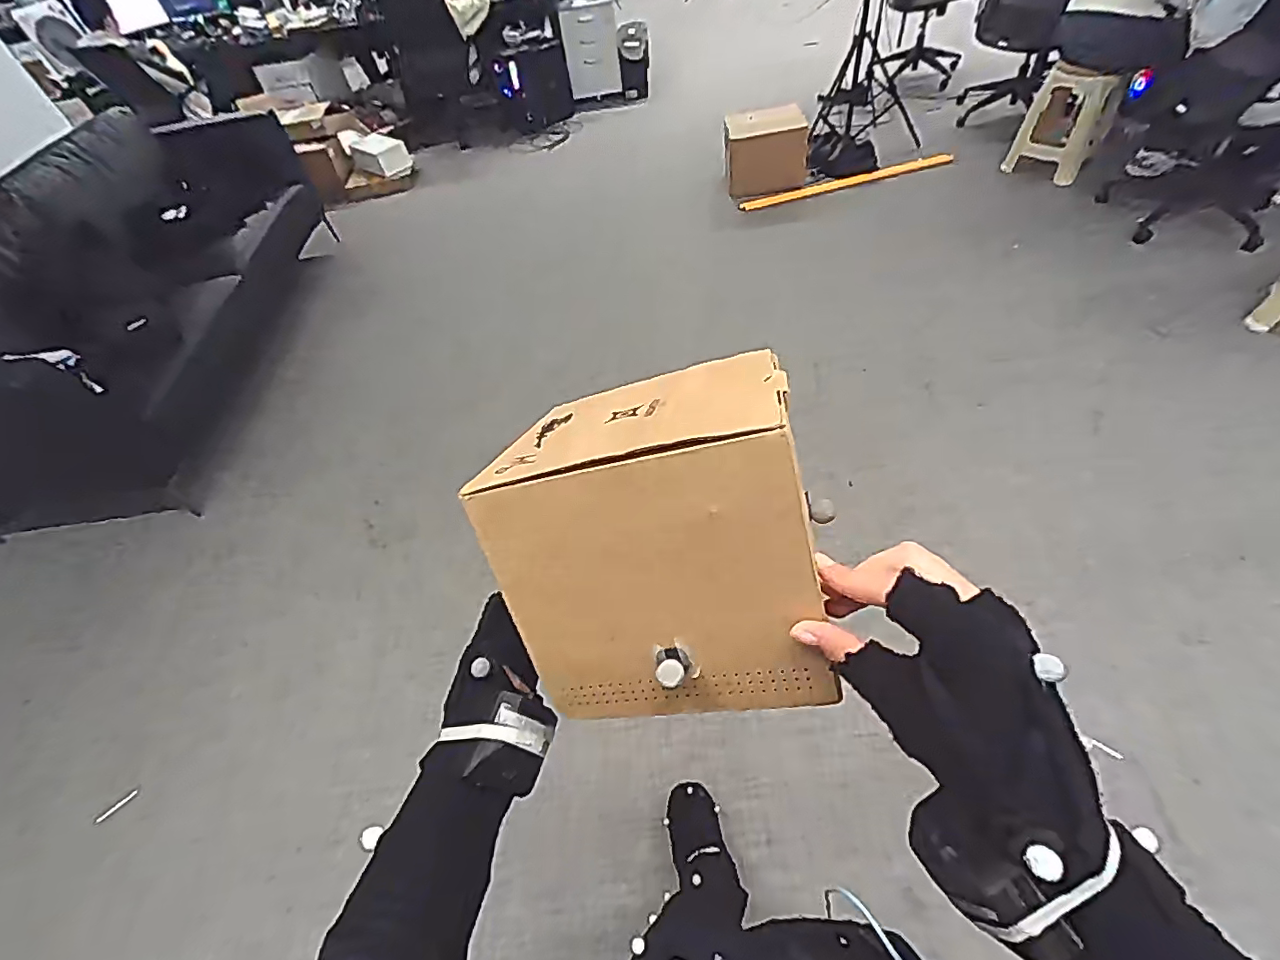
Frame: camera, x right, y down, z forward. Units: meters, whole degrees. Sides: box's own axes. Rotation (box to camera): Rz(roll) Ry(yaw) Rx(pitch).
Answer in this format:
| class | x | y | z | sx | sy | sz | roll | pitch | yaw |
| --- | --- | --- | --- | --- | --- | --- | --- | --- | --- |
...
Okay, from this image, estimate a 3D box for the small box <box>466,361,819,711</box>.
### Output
| class | x | y | z | sx | sy | sz | roll | pitch | yaw |
| --- | --- | --- | --- | --- | --- | --- | --- | --- | --- |
| small box | 0.021 | 0.035 | 0.375 | 0.179 | 0.176 | 0.168 | -11 | 21 | 16 |
